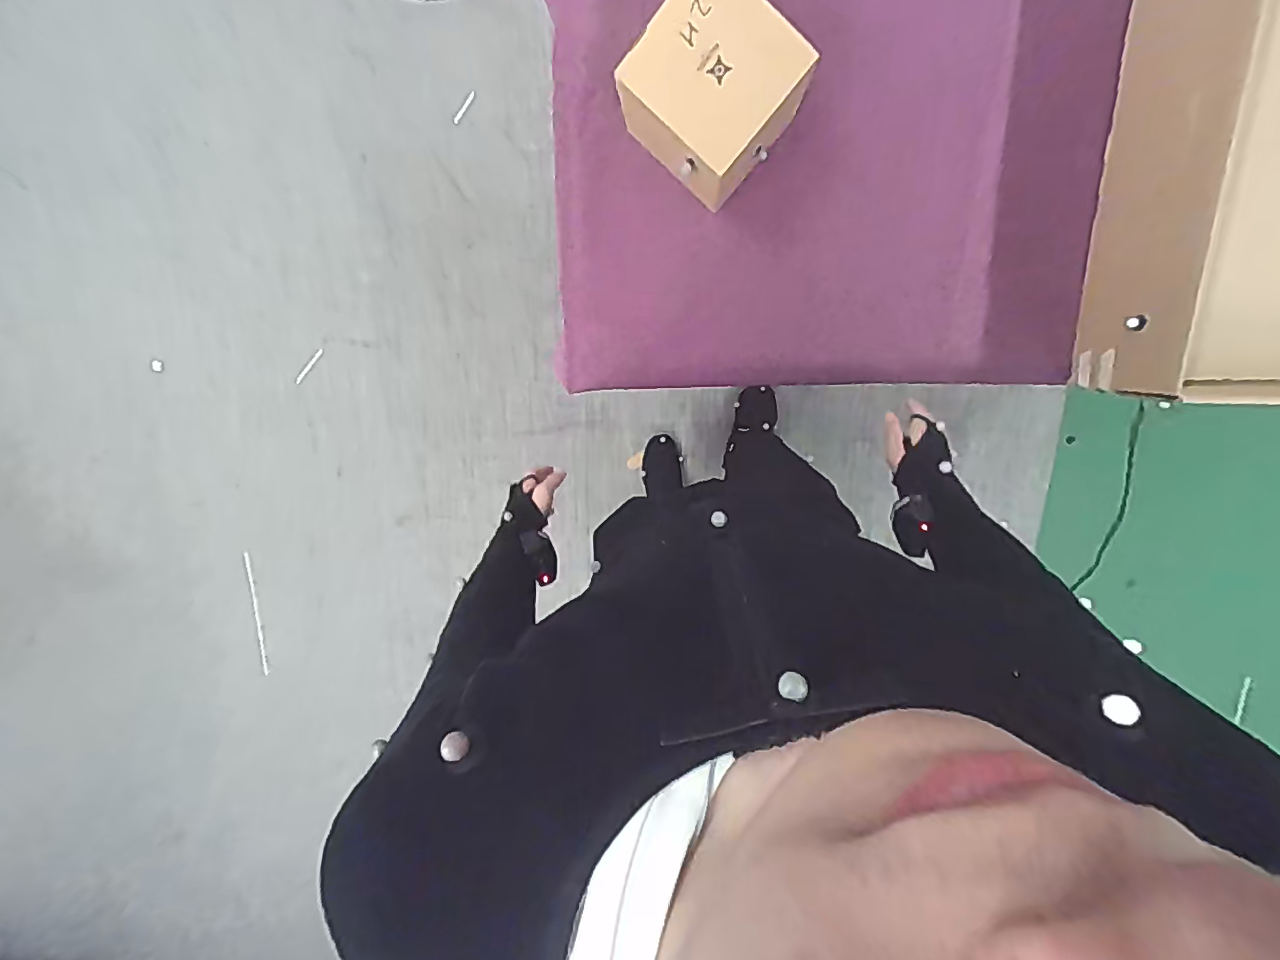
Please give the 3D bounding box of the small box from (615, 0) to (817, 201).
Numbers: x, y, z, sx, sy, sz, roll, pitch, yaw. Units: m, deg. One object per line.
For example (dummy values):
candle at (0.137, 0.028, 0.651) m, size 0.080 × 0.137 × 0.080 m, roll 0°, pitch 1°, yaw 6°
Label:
small box at (0.094, -0.494, 0.701) m, size 0.179 × 0.176 × 0.168 m, roll 42°, pitch 102°, yaw -5°
